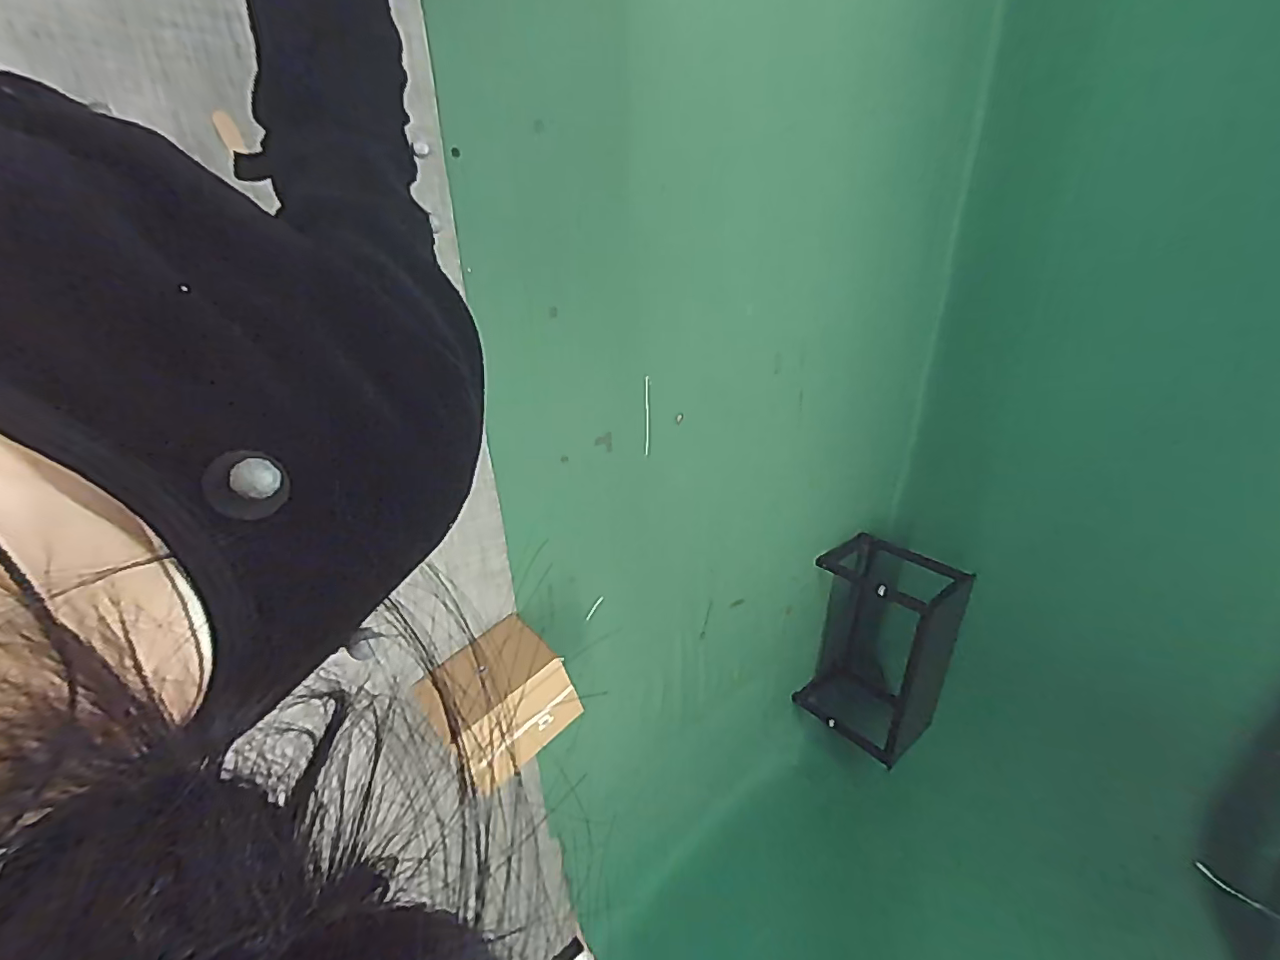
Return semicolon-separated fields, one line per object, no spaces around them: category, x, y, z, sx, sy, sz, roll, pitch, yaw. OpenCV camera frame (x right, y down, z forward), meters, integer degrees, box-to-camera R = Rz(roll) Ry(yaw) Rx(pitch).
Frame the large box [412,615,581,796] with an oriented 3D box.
large box;-0.481;0.748;1.840;0.408;0.320;0.320;-35;129;-29
